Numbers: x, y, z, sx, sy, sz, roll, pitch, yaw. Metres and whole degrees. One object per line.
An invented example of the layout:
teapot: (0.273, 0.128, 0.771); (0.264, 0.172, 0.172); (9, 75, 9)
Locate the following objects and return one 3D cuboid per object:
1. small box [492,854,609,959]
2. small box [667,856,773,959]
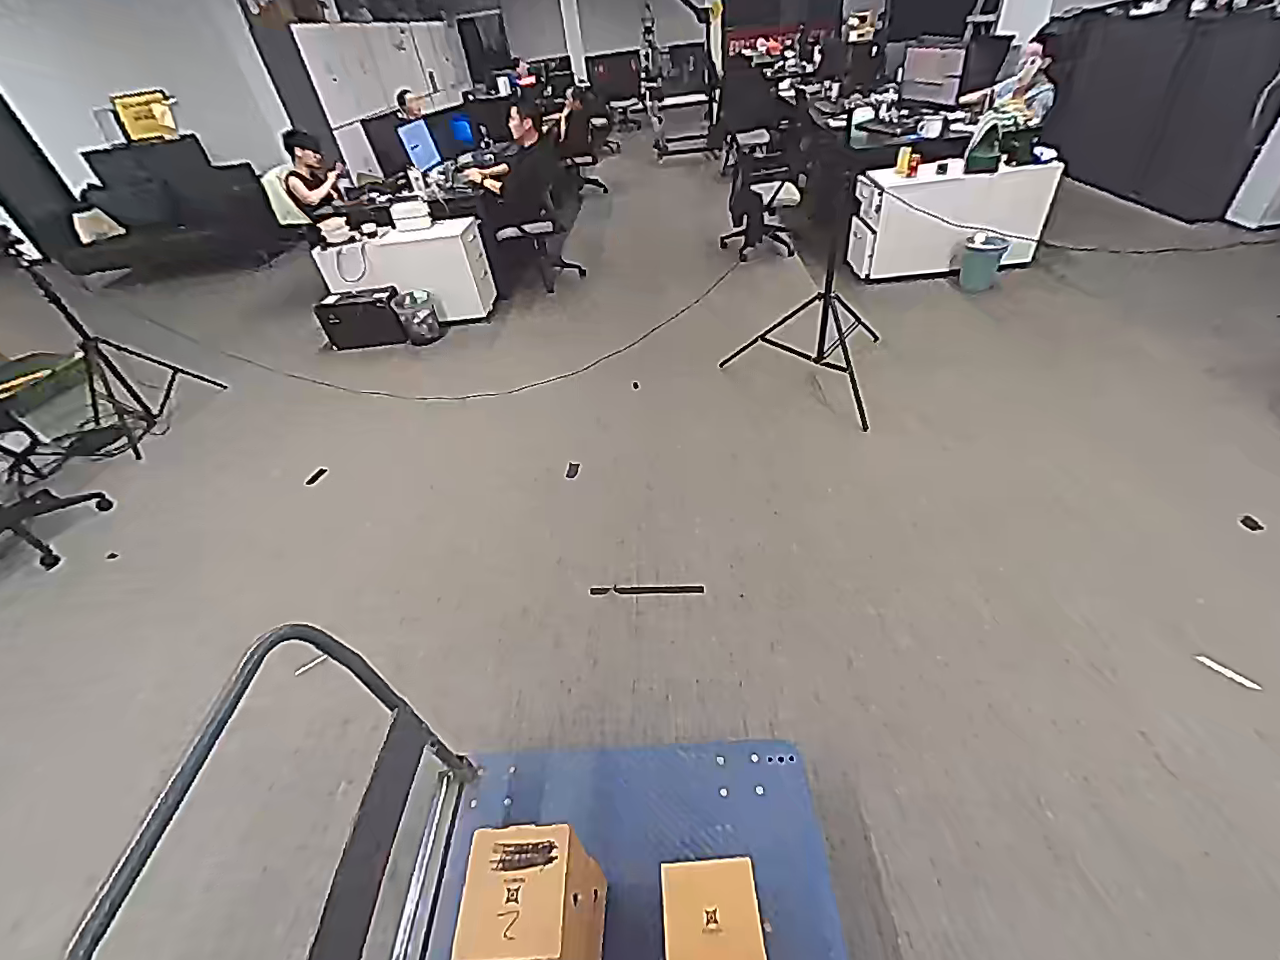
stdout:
small box: (-0.154, 0.820, 0.996); (0.168, 0.176, 0.179); (-3, 41, 7)
small box: (0.139, 0.805, 0.965); (0.168, 0.176, 0.179); (-7, 40, 2)
